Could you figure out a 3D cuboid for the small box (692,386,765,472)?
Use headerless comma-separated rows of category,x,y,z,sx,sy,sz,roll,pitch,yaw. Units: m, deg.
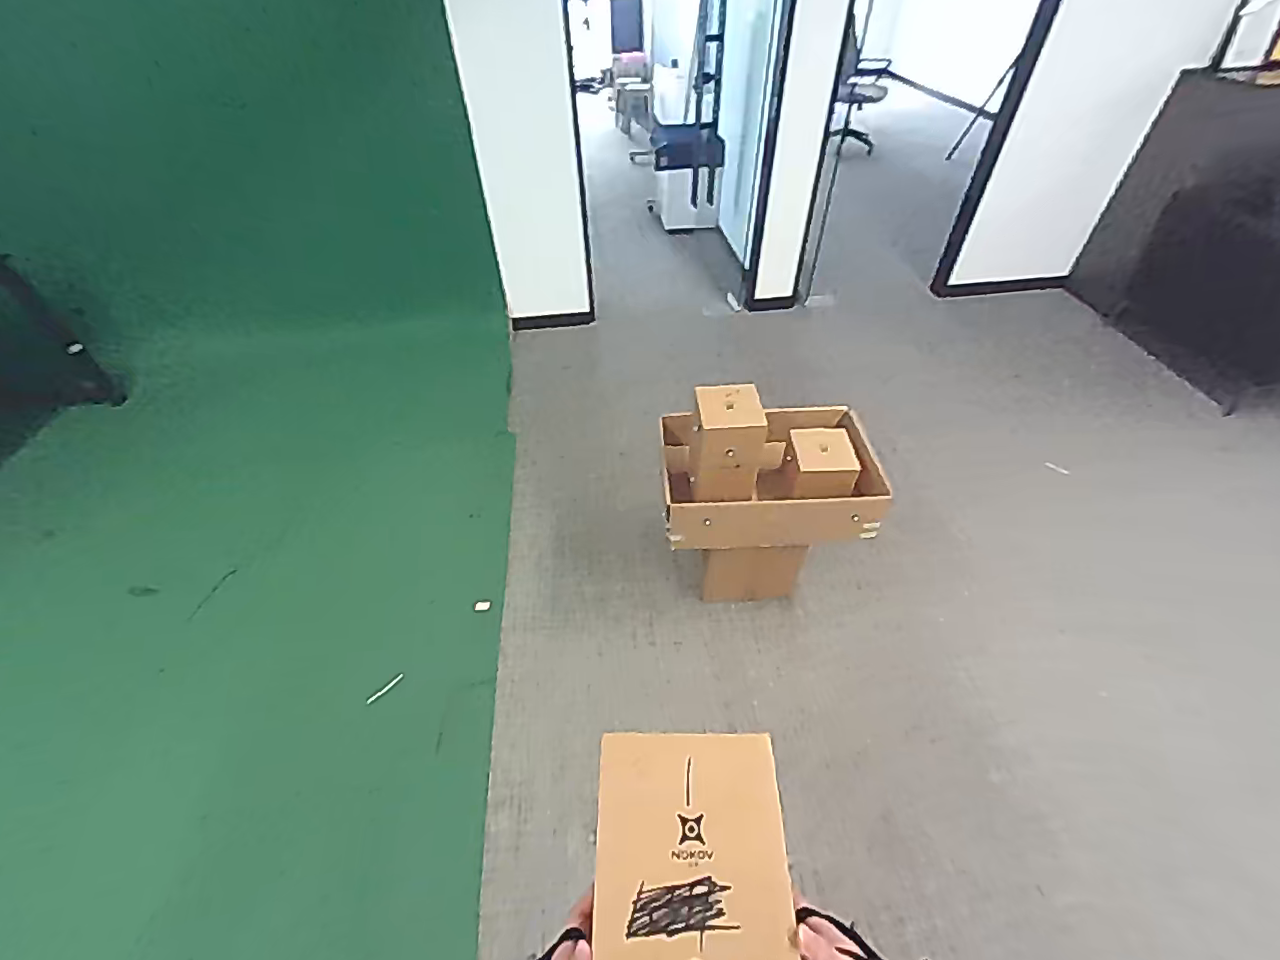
small box,0.235,-0.134,1.475,0.168,0.176,0.179,-2,47,-2

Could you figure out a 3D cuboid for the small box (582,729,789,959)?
small box,0.039,0.361,0.534,0.168,0.176,0.179,1,51,1
